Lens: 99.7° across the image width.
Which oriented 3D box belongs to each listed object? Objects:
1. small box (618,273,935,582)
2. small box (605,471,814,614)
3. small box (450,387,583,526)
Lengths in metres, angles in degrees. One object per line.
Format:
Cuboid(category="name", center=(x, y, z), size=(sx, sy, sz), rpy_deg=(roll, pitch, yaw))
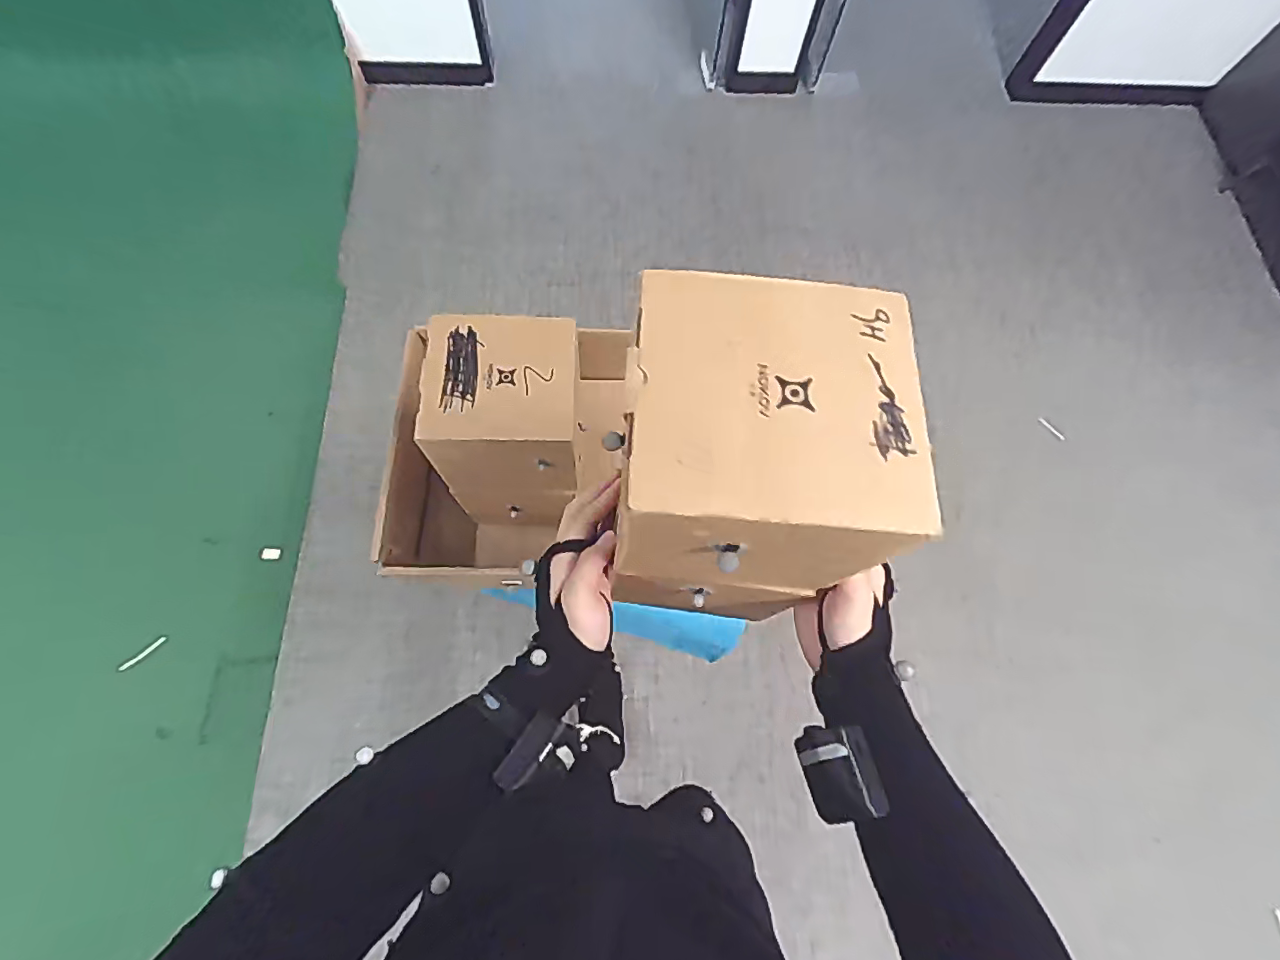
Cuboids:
Cuboid(category="small box", center=(0.076, -0.023, 0.396), size=(0.179, 0.176, 0.168), rpy_deg=(4, 70, -3))
Cuboid(category="small box", center=(0.062, 0.035, 0.548), size=(0.179, 0.176, 0.168), rpy_deg=(9, 68, -2))
Cuboid(category="small box", center=(-0.181, -0.029, 0.848), size=(0.179, 0.176, 0.168), rpy_deg=(2, 69, -4))
